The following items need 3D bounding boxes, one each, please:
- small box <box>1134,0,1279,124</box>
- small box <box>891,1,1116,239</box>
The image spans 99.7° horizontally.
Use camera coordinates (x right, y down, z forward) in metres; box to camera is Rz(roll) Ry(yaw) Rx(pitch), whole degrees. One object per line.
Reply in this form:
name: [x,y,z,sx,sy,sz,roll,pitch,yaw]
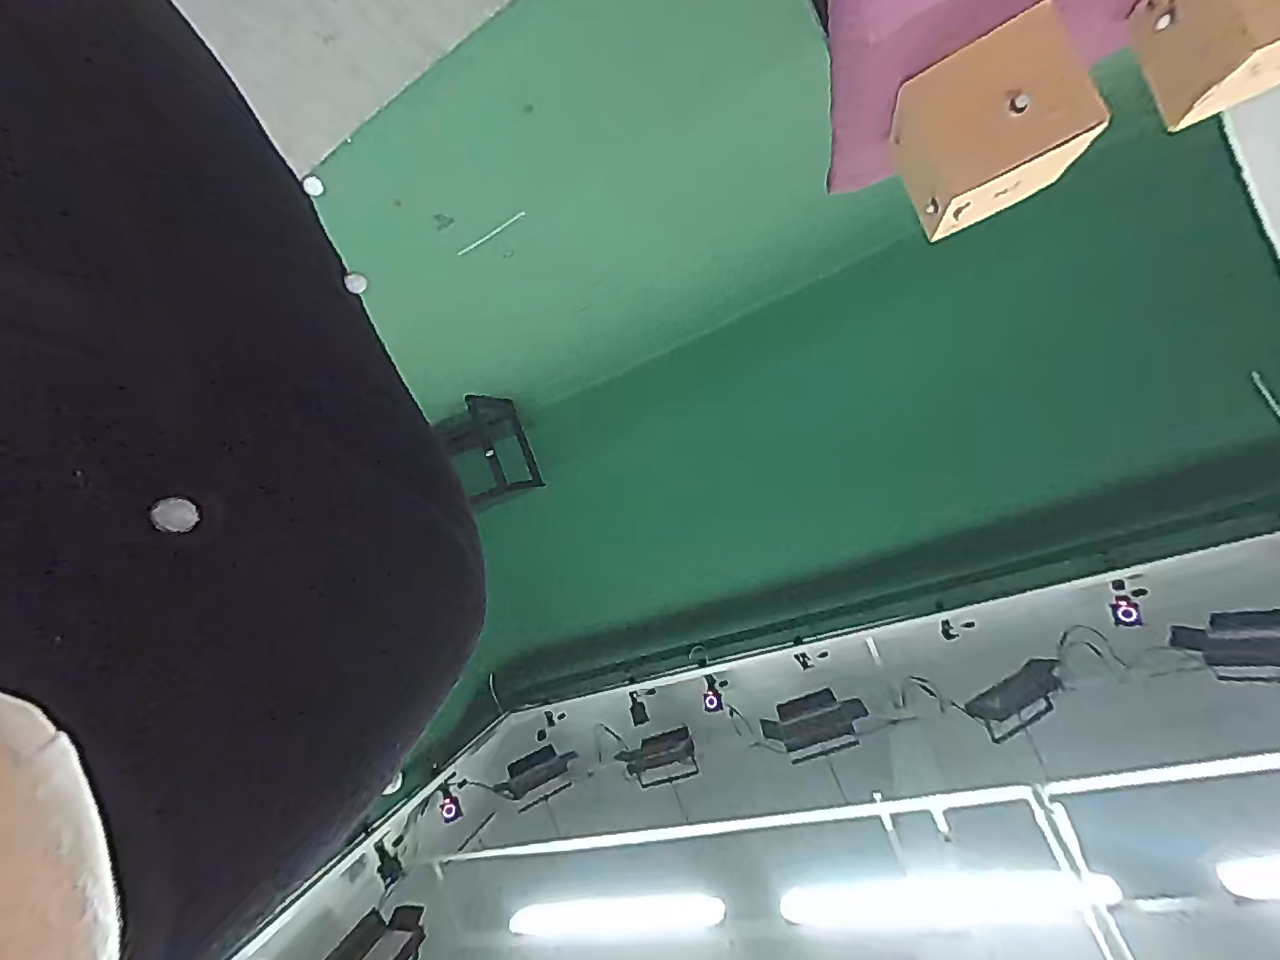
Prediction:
small box: [0.747,-0.582,0.633,0.179,0.176,0.168,-20,176,20]
small box: [0.469,-0.471,0.729,0.179,0.176,0.168,-25,175,19]
